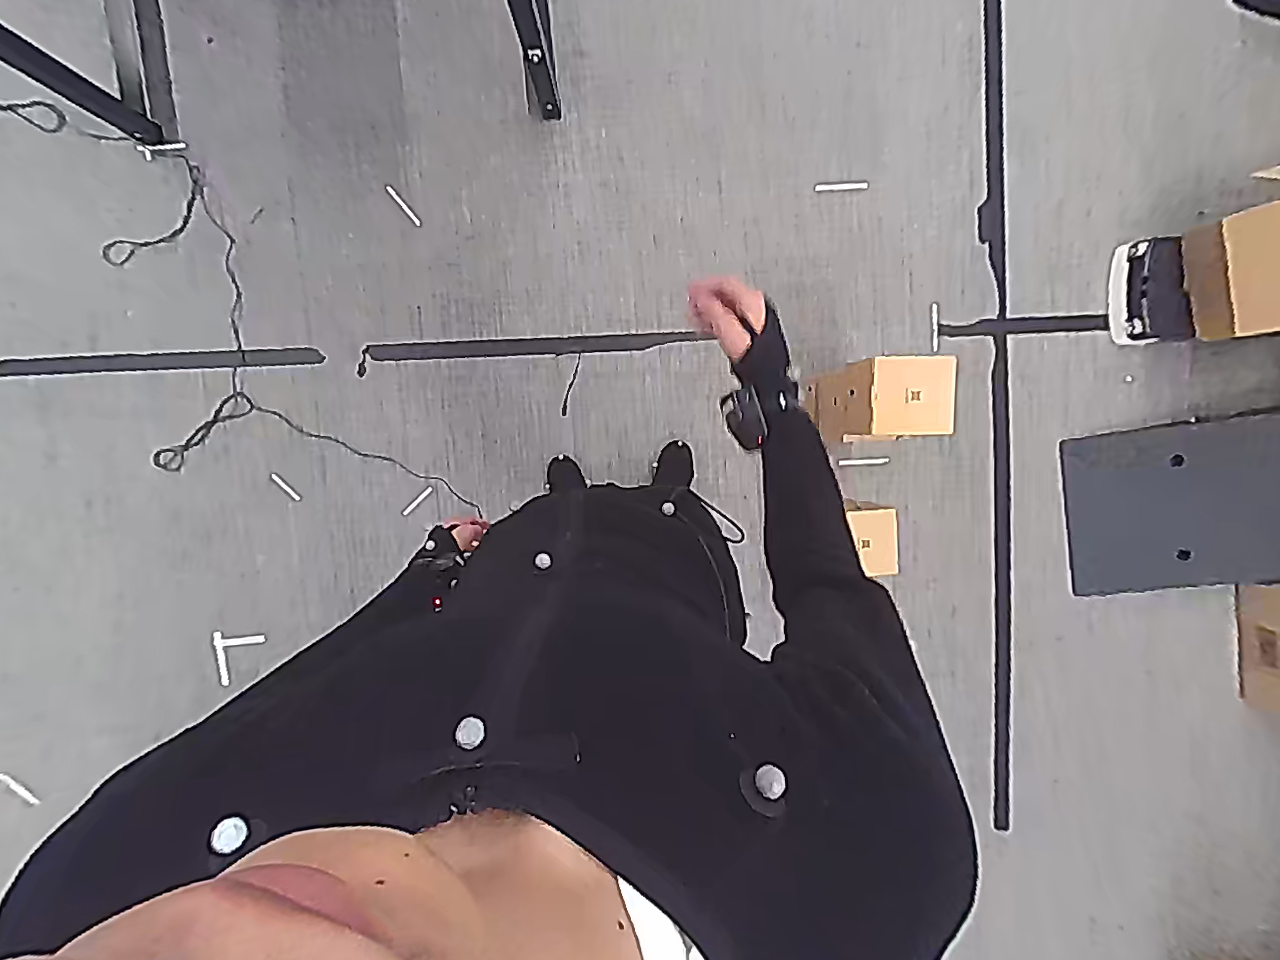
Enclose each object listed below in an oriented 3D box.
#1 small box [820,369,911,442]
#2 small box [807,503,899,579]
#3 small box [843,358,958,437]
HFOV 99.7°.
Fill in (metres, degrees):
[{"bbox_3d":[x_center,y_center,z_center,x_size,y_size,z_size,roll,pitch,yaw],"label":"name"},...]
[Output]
[{"bbox_3d":[0.564,-0.187,1.366,0.168,0.176,0.179,-3,96,0],"label":"small box"},{"bbox_3d":[0.546,0.152,1.400,0.179,0.176,0.168,-4,94,0],"label":"small box"},{"bbox_3d":[0.572,-0.182,1.203,0.179,0.176,0.168,-1,96,0],"label":"small box"}]
